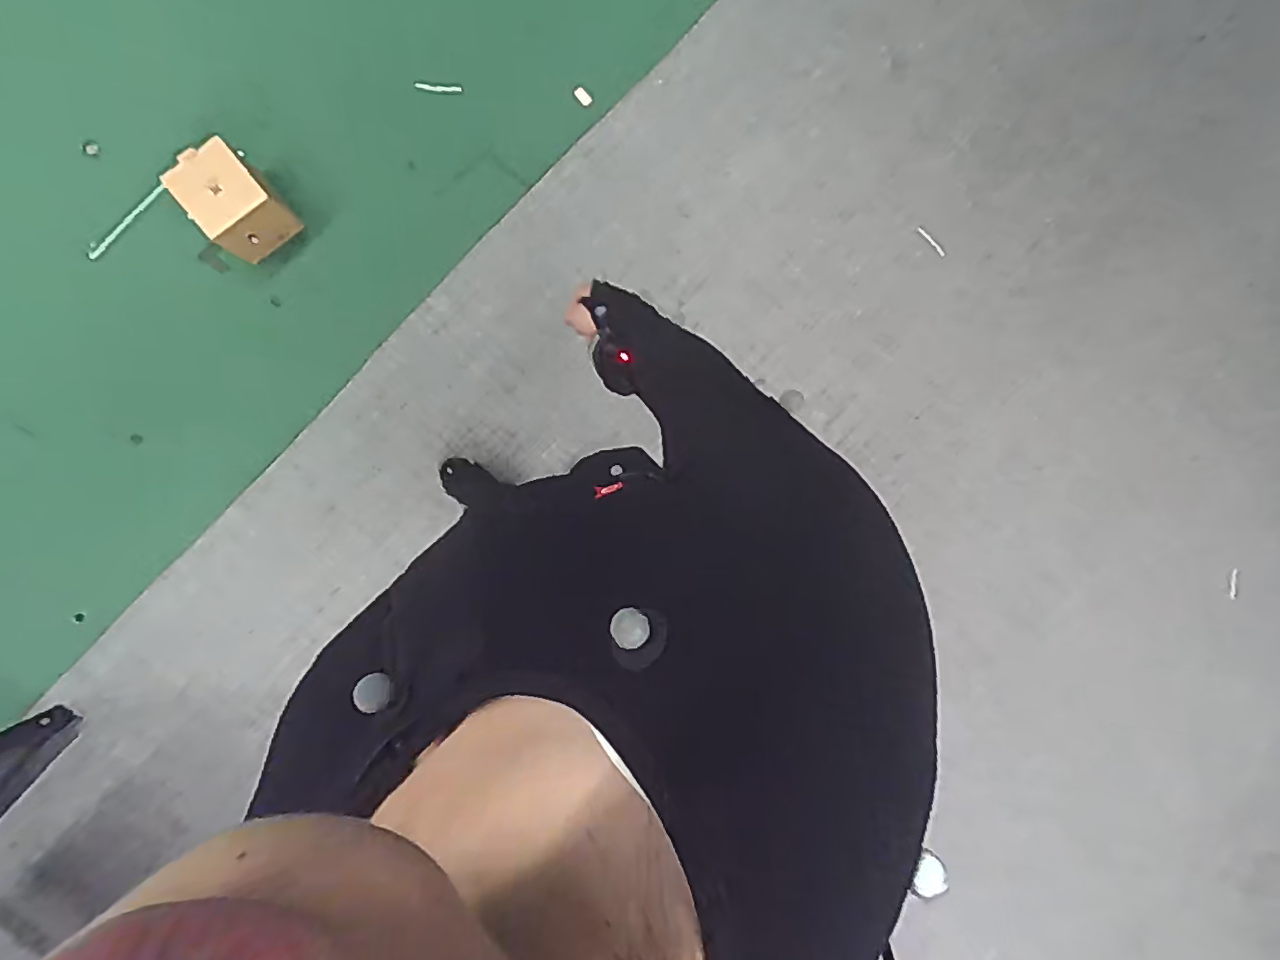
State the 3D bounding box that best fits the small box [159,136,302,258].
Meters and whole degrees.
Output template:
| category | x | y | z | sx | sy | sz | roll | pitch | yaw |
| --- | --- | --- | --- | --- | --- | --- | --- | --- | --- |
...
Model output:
| category | x | y | z | sx | sy | sz | roll | pitch | yaw |
| --- | --- | --- | --- | --- | --- | --- | --- | --- | --- |
| small box | -0.965 | -0.661 | 1.295 | 0.168 | 0.176 | 0.179 | -40 | 95 | -3 |
